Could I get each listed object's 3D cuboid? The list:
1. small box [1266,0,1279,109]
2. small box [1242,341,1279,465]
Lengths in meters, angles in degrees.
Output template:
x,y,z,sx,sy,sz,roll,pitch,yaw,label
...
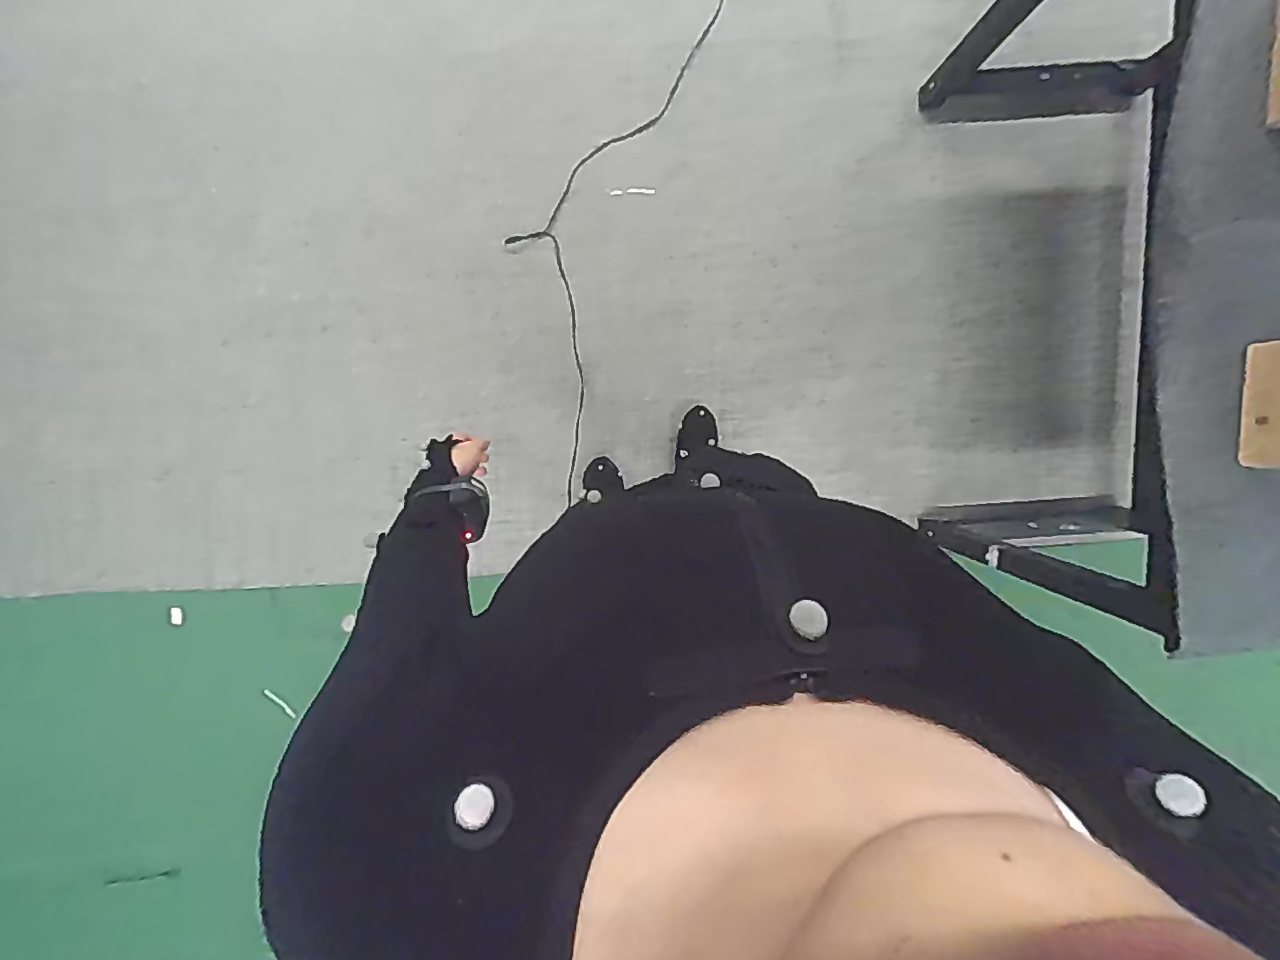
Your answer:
x,y,z,sx,sy,sz,roll,pitch,yaw,label
0.888,-0.543,0.615,0.168,0.176,0.179,-3,96,-2,small box
0.911,-0.100,0.663,0.179,0.176,0.168,-3,96,-2,small box
